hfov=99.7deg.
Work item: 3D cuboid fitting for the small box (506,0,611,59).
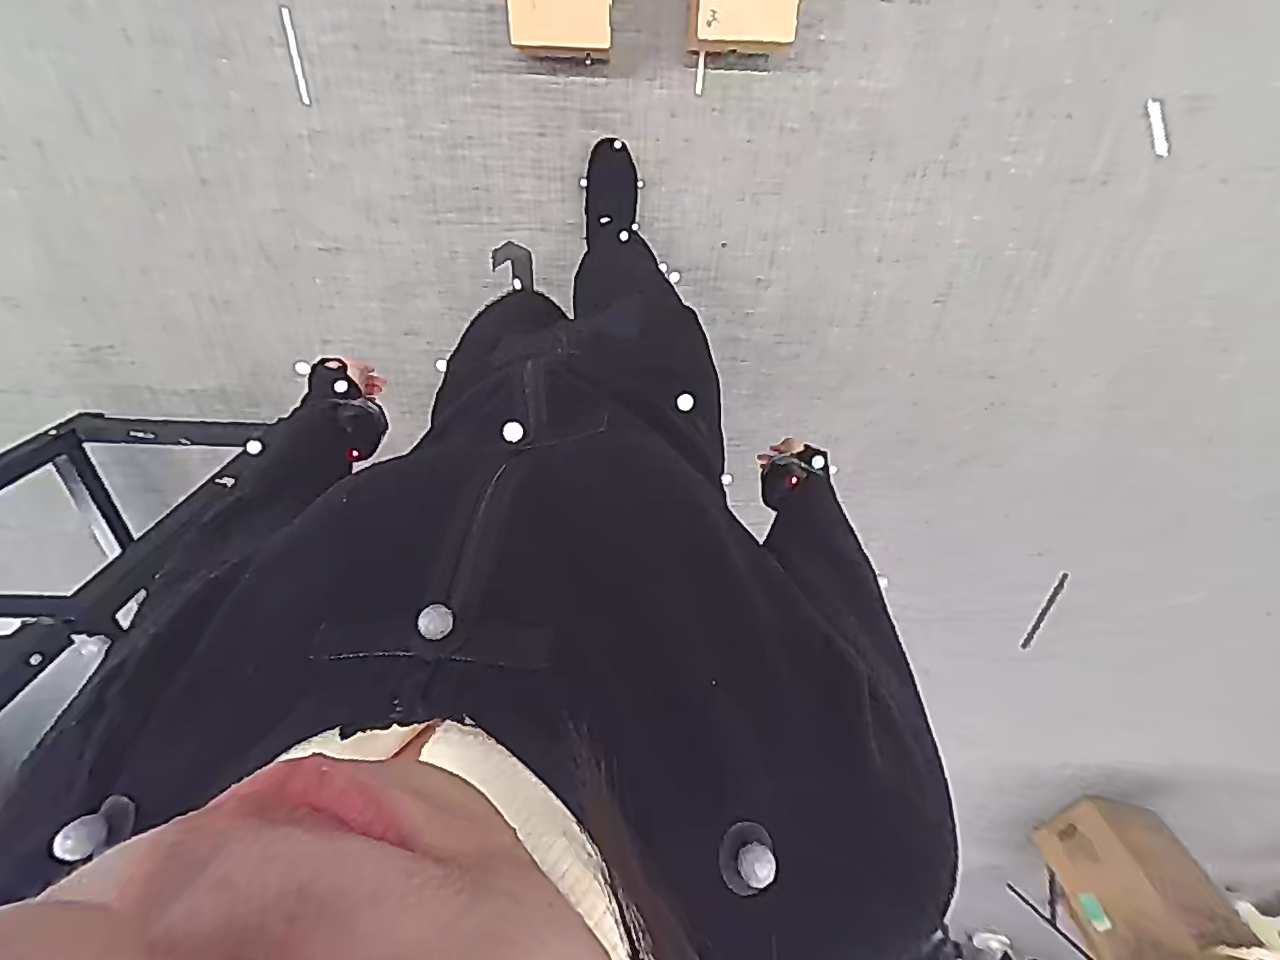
[{"bbox_3d":[-0.139,-0.861,0.957,0.179,0.176,0.168,1,122,-3],"label":"small box"}]

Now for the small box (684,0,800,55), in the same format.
[{"bbox_3d":[0.181,-0.874,0.964,0.179,0.176,0.168,0,123,-4],"label":"small box"}]
